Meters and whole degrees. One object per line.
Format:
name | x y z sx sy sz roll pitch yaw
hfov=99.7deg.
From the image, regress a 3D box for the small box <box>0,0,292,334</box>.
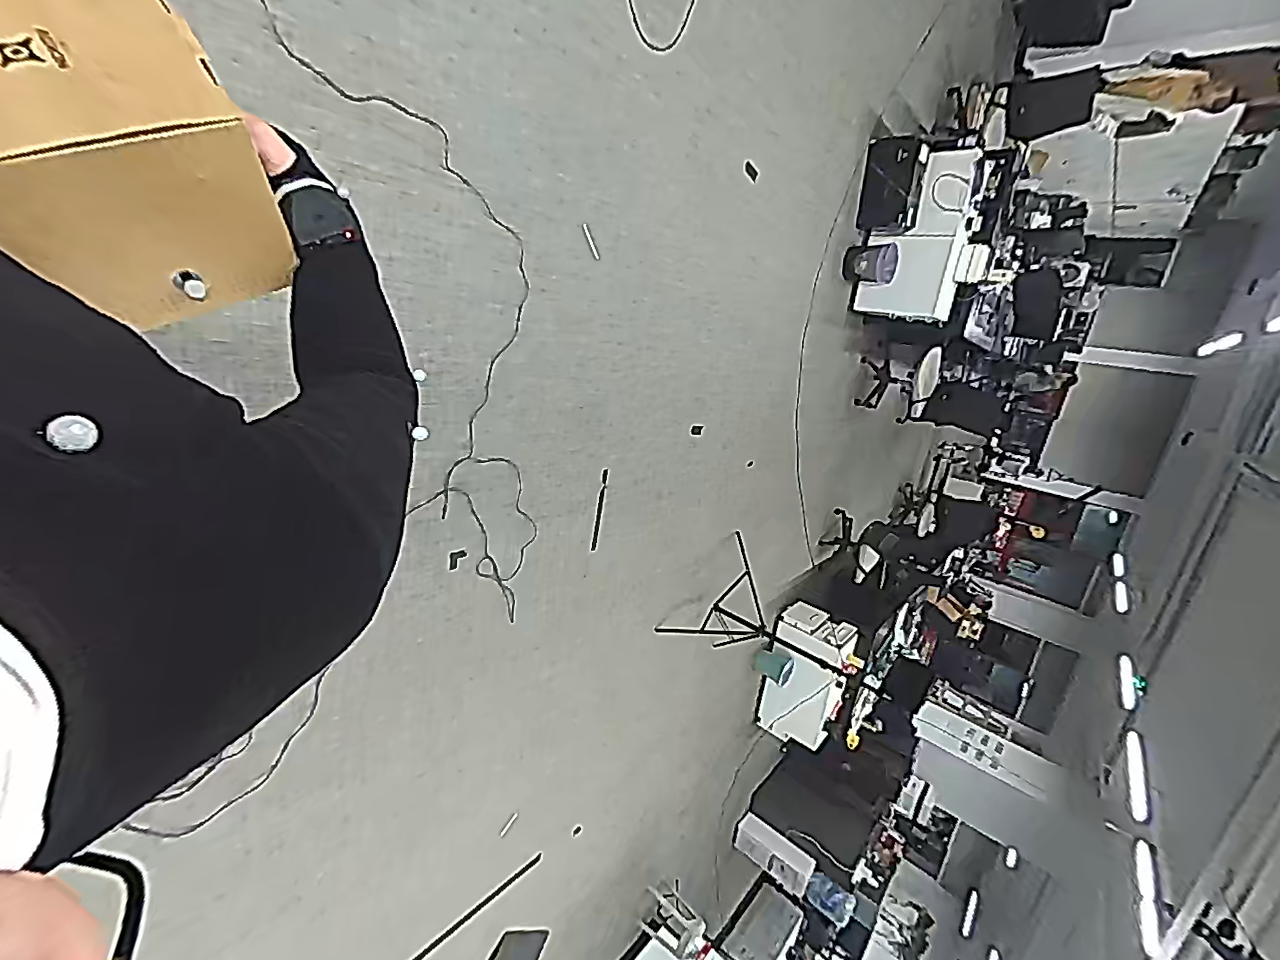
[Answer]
small box | -0.418 -0.253 0.440 0.179 0.168 0.176 -32 171 -26
